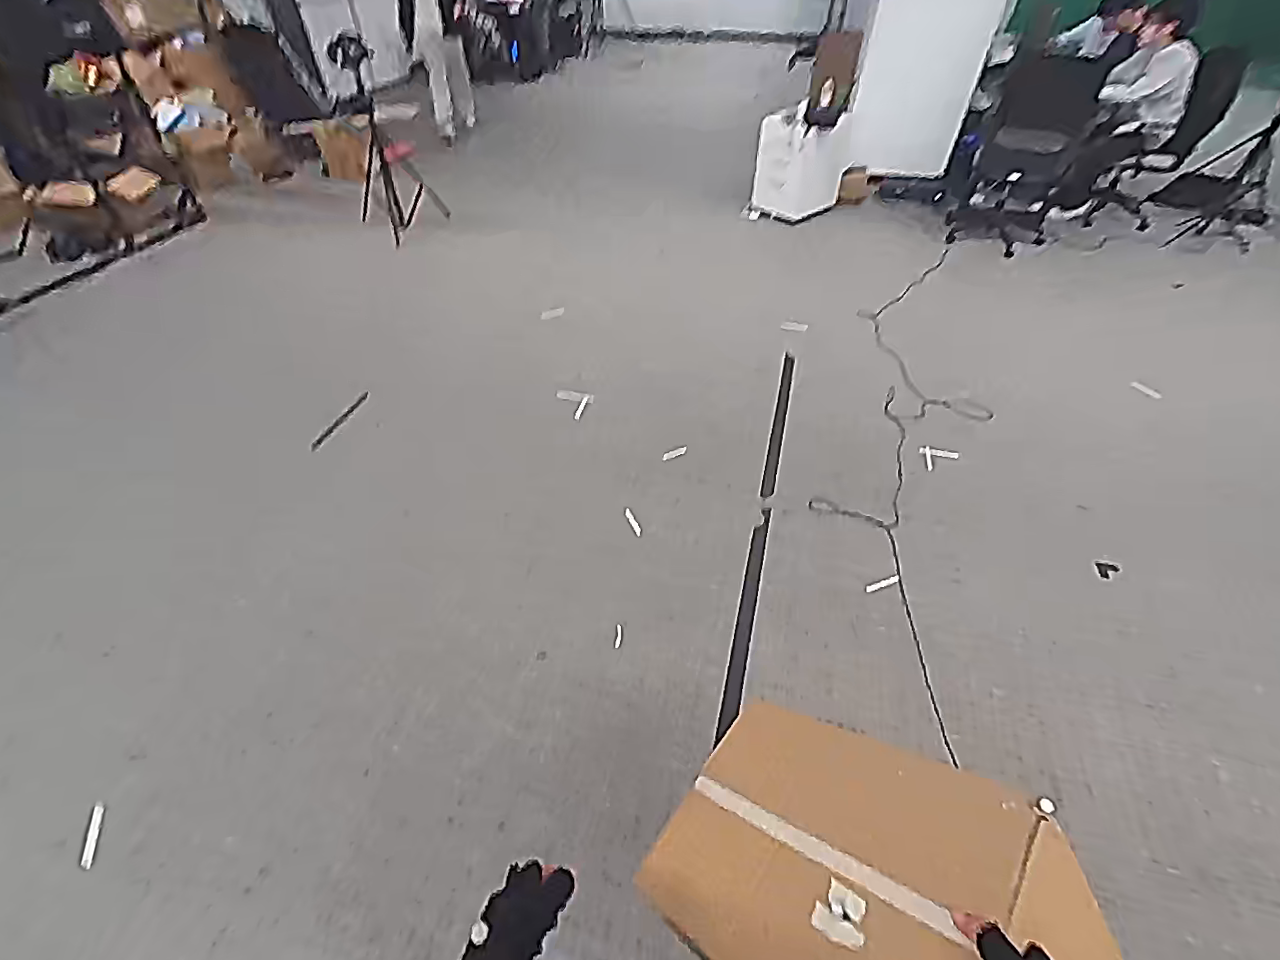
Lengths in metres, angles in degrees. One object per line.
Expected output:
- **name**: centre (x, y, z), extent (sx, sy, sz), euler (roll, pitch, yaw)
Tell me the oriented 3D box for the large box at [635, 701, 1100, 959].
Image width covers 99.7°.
- **large box**: centre (0.277, 0.554, 0.691), extent (0.320, 0.320, 0.408), euler (-45, 23, -30)
